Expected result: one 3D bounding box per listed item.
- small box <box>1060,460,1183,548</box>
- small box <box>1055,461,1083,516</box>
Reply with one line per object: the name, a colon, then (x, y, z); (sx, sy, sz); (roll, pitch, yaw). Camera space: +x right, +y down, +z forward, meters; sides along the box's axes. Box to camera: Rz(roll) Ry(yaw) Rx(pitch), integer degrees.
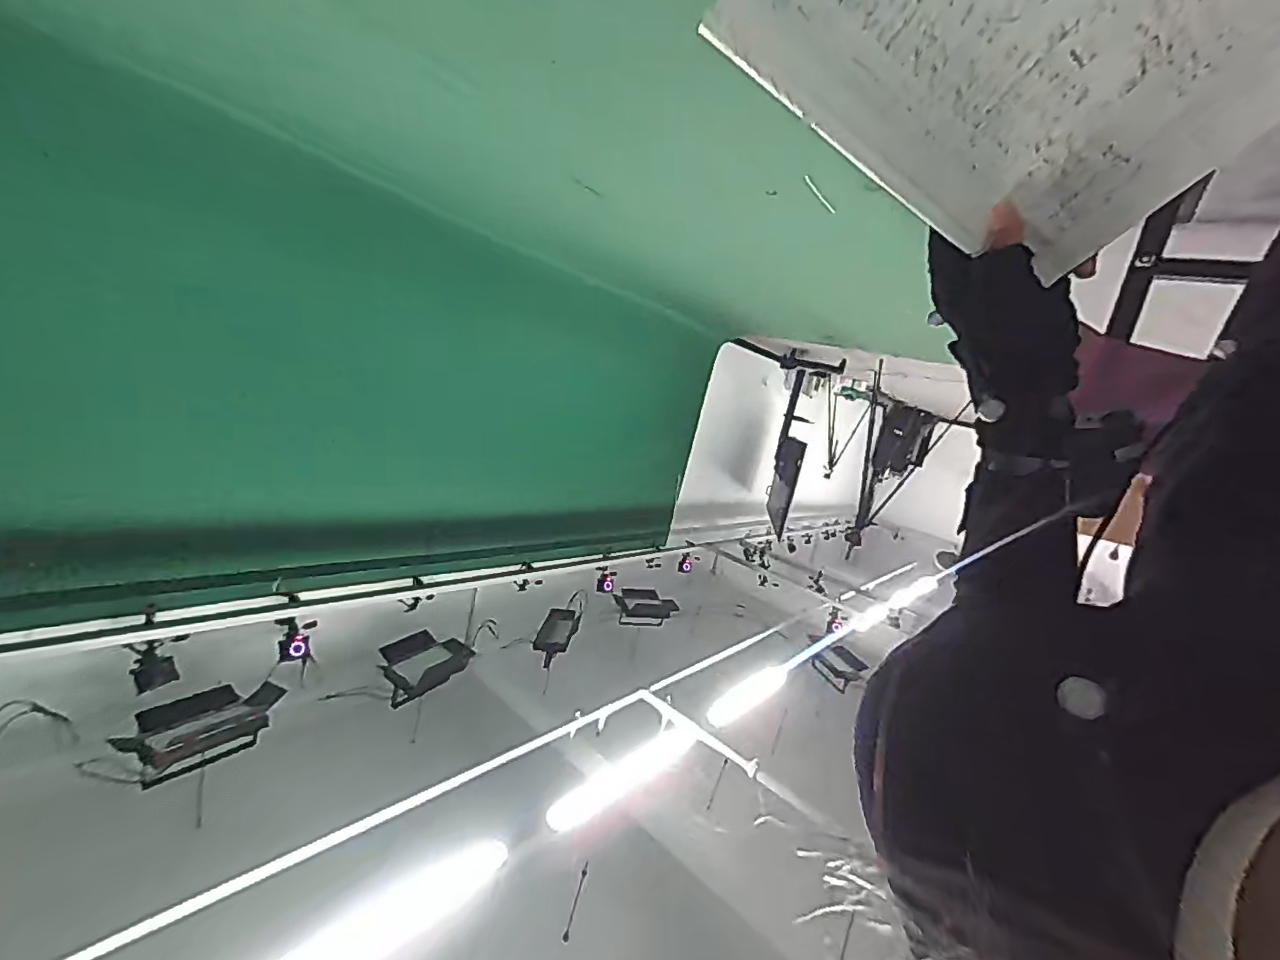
small box: (1.177, 0.049, 1.330); (0.168, 0.176, 0.179); (17, -169, 27)
small box: (1.302, 0.045, 1.516); (0.168, 0.176, 0.179); (19, -168, 29)
